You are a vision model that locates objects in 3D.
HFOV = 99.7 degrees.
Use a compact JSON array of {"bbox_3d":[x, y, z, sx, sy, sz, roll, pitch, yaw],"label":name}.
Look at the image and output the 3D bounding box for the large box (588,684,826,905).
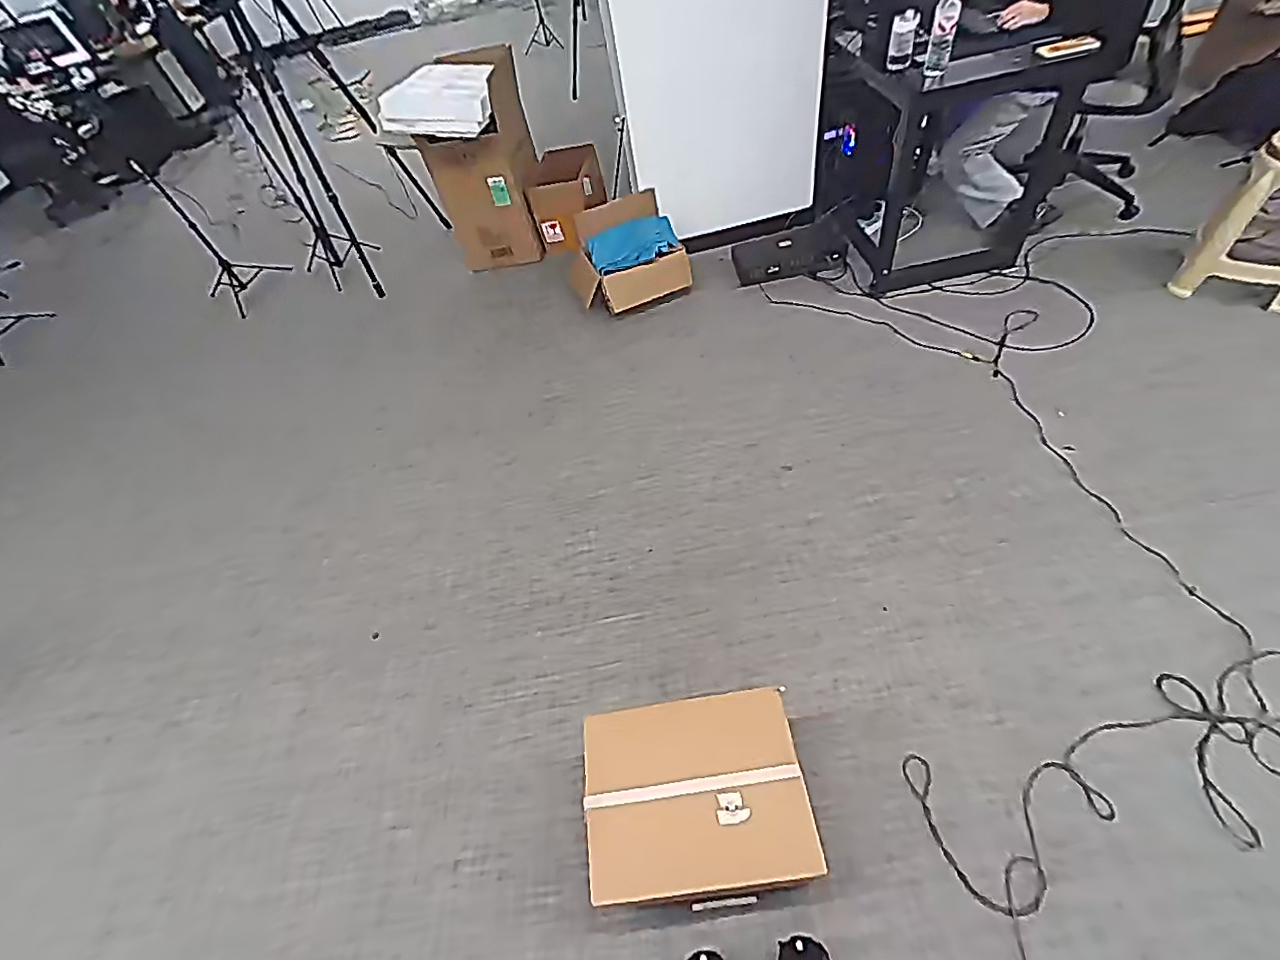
[{"bbox_3d":[0.126,0.658,1.122,0.408,0.320,0.320,-10,51,3],"label":"large box"}]
